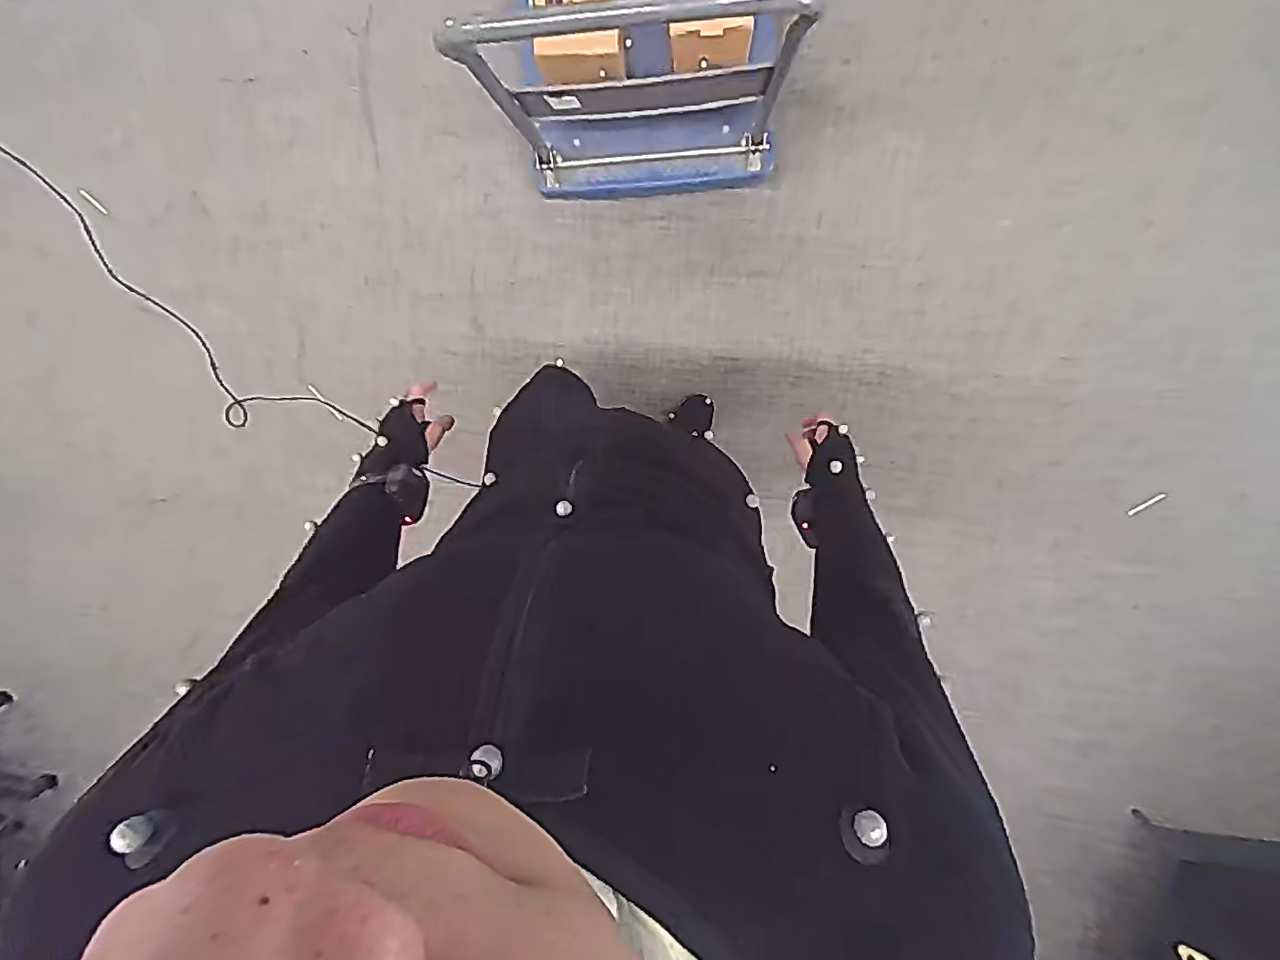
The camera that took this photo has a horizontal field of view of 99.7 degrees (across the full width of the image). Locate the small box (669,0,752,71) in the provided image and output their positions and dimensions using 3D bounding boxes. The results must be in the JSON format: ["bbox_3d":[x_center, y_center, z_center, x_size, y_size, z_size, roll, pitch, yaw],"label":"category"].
[{"bbox_3d":[0.143,-1.007,1.138,0.168,0.176,0.179,-1,103,6],"label":"small box"}]
